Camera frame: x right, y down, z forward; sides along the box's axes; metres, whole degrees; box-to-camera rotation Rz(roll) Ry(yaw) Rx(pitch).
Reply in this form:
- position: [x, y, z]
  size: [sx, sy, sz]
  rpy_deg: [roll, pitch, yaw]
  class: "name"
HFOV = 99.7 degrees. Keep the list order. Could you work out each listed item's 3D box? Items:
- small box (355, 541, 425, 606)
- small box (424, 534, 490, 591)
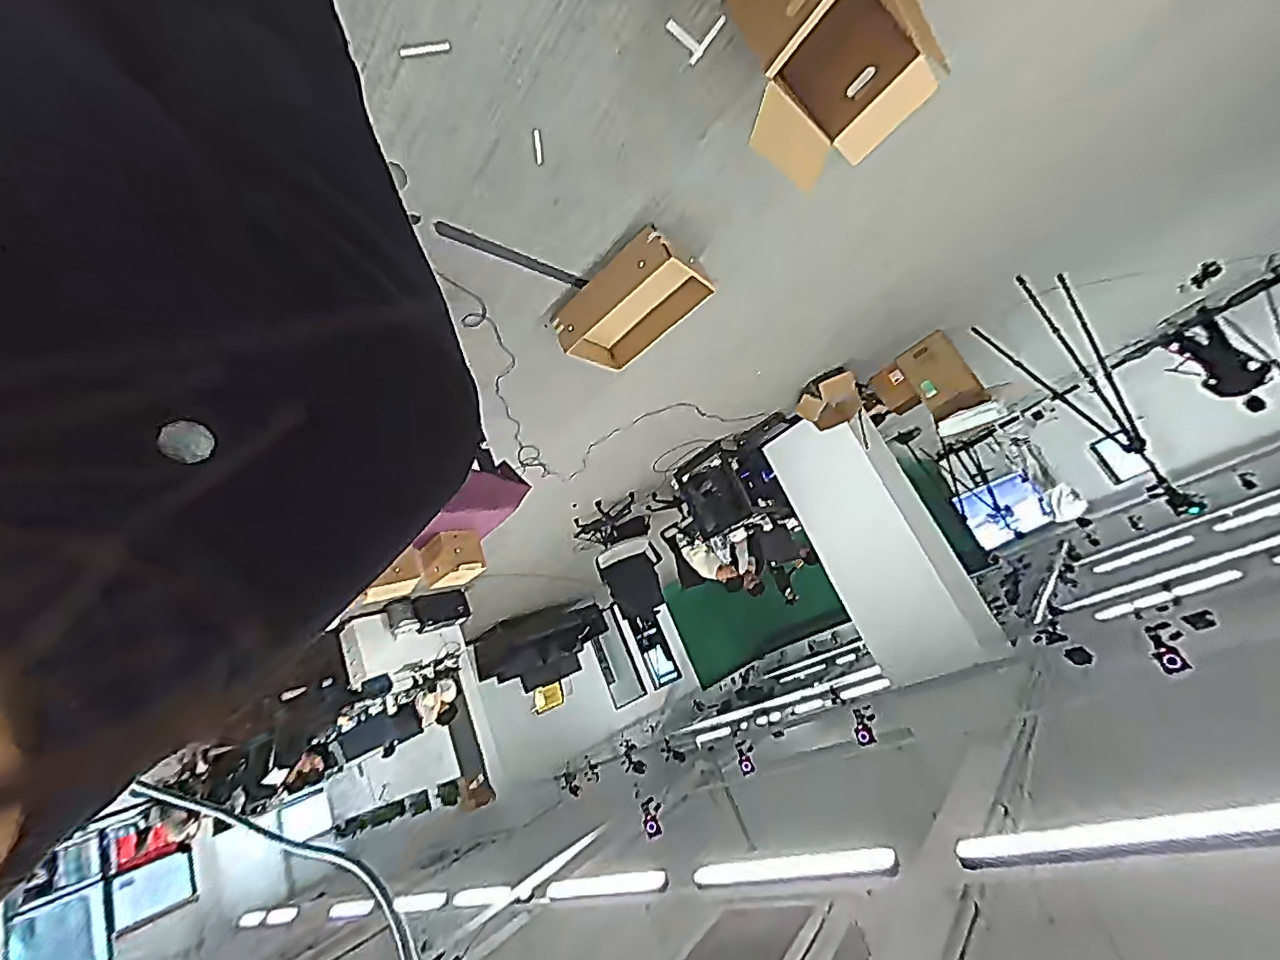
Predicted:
- position: [-0.915, 0.337, 1.970]
  size: [0.179, 0.176, 0.168]
  rpy_deg: [-8, 155, -41]
  class: "small box"
- position: [-0.738, 0.322, 2.161]
  size: [0.179, 0.176, 0.168]
  rpy_deg: [-35, 159, 31]
  class: "small box"
